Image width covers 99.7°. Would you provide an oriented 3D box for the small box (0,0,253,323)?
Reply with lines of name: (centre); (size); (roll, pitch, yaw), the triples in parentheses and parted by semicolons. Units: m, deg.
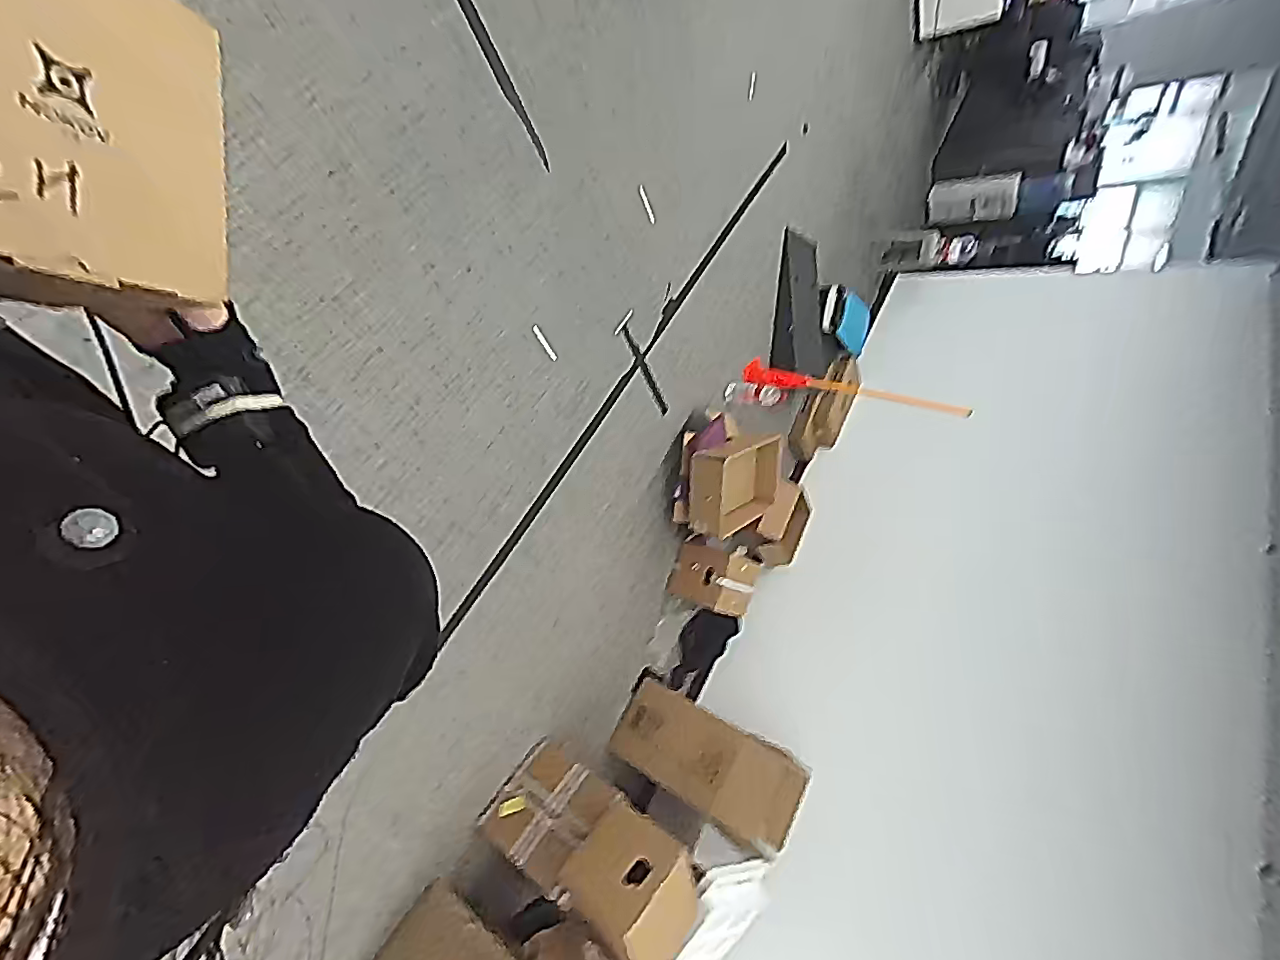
small box: (-0.360, -0.193, 0.304); (0.168, 0.176, 0.179); (-14, 108, -74)
